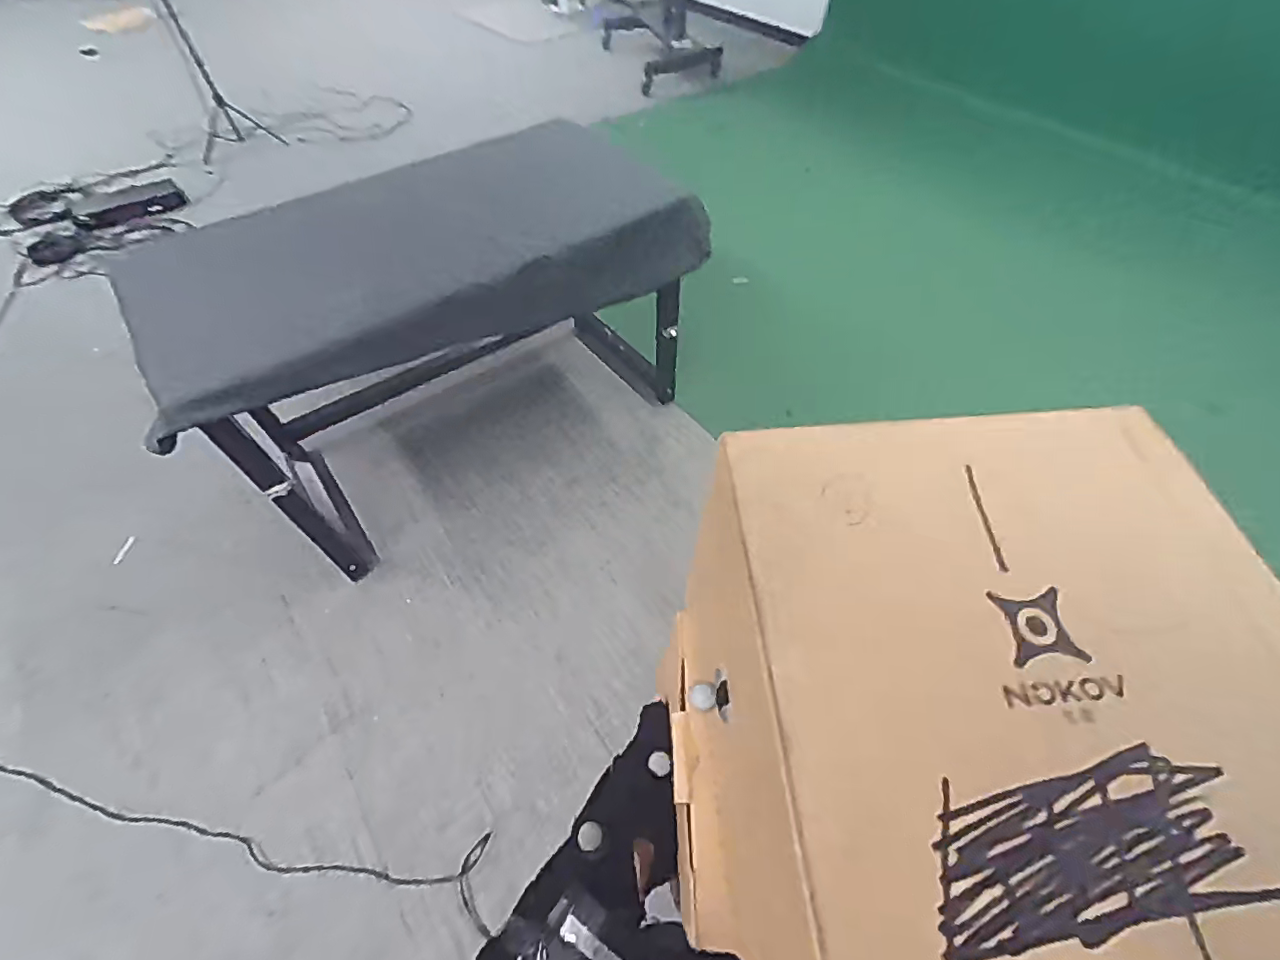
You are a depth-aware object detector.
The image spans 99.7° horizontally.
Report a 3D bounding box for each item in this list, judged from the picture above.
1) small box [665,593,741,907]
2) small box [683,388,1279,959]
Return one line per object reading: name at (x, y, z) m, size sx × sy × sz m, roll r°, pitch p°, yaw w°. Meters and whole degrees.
small box at (0.109, 0.181, 0.373) m, size 0.179 × 0.176 × 0.168 m, roll -3°, pitch 57°, yaw -2°
small box at (0.113, 0.085, 0.236) m, size 0.168 × 0.176 × 0.179 m, roll -5°, pitch 58°, yaw -3°
